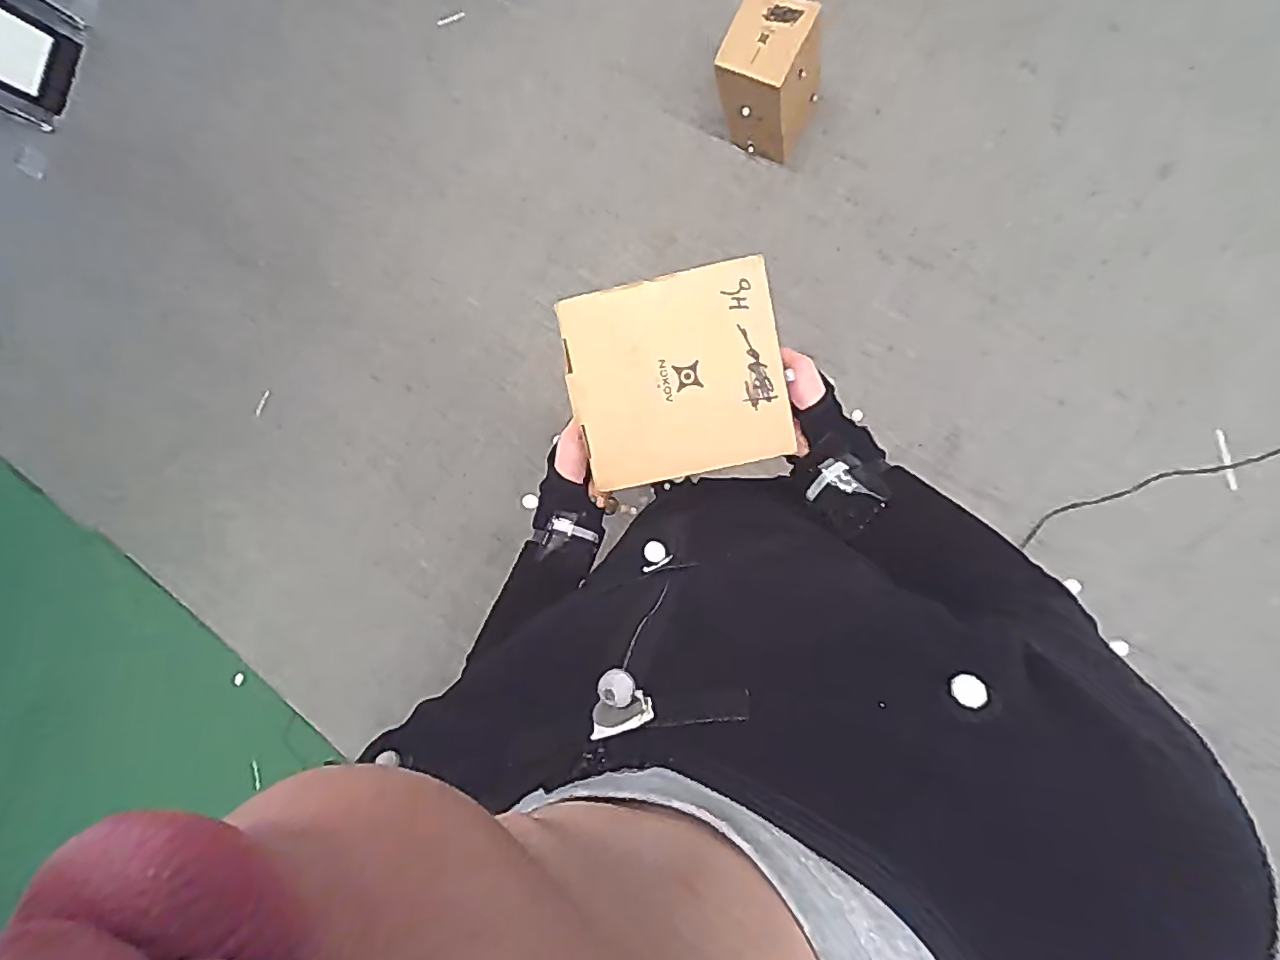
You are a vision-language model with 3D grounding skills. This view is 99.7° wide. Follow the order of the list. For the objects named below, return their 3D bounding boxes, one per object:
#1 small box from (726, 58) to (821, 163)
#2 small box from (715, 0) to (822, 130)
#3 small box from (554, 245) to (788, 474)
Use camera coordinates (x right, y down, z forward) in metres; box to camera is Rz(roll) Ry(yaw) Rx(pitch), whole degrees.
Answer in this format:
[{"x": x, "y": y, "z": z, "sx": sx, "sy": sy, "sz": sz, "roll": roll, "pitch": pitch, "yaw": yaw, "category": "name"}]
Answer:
[{"x": 0.339, "y": -0.958, "z": 1.378, "sx": 0.168, "sy": 0.176, "sz": 0.179, "roll": 31, "pitch": 101, "yaw": 13, "category": "small box"}, {"x": 0.289, "y": -0.946, "z": 1.221, "sx": 0.168, "sy": 0.176, "sz": 0.179, "roll": 31, "pitch": 100, "yaw": 13, "category": "small box"}, {"x": 0.032, "y": -0.106, "z": 0.532, "sx": 0.179, "sy": 0.176, "sz": 0.168, "roll": -11, "pitch": 96, "yaw": 5, "category": "small box"}]
